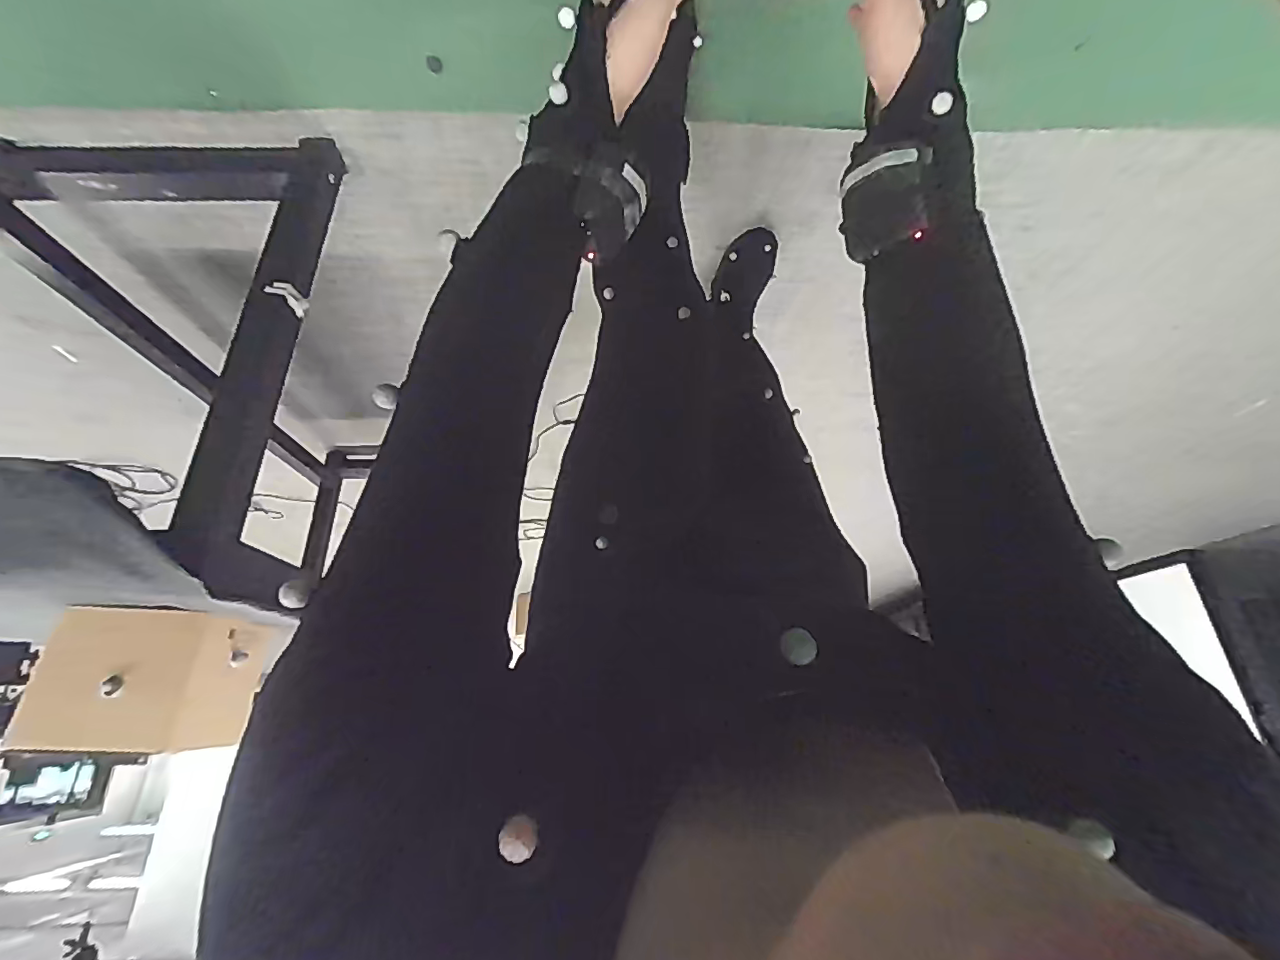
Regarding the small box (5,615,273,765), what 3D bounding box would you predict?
[{"bbox_3d":[-0.638,0.277,0.719,0.179,0.176,0.168,4,157,-6],"label":"small box"}]
